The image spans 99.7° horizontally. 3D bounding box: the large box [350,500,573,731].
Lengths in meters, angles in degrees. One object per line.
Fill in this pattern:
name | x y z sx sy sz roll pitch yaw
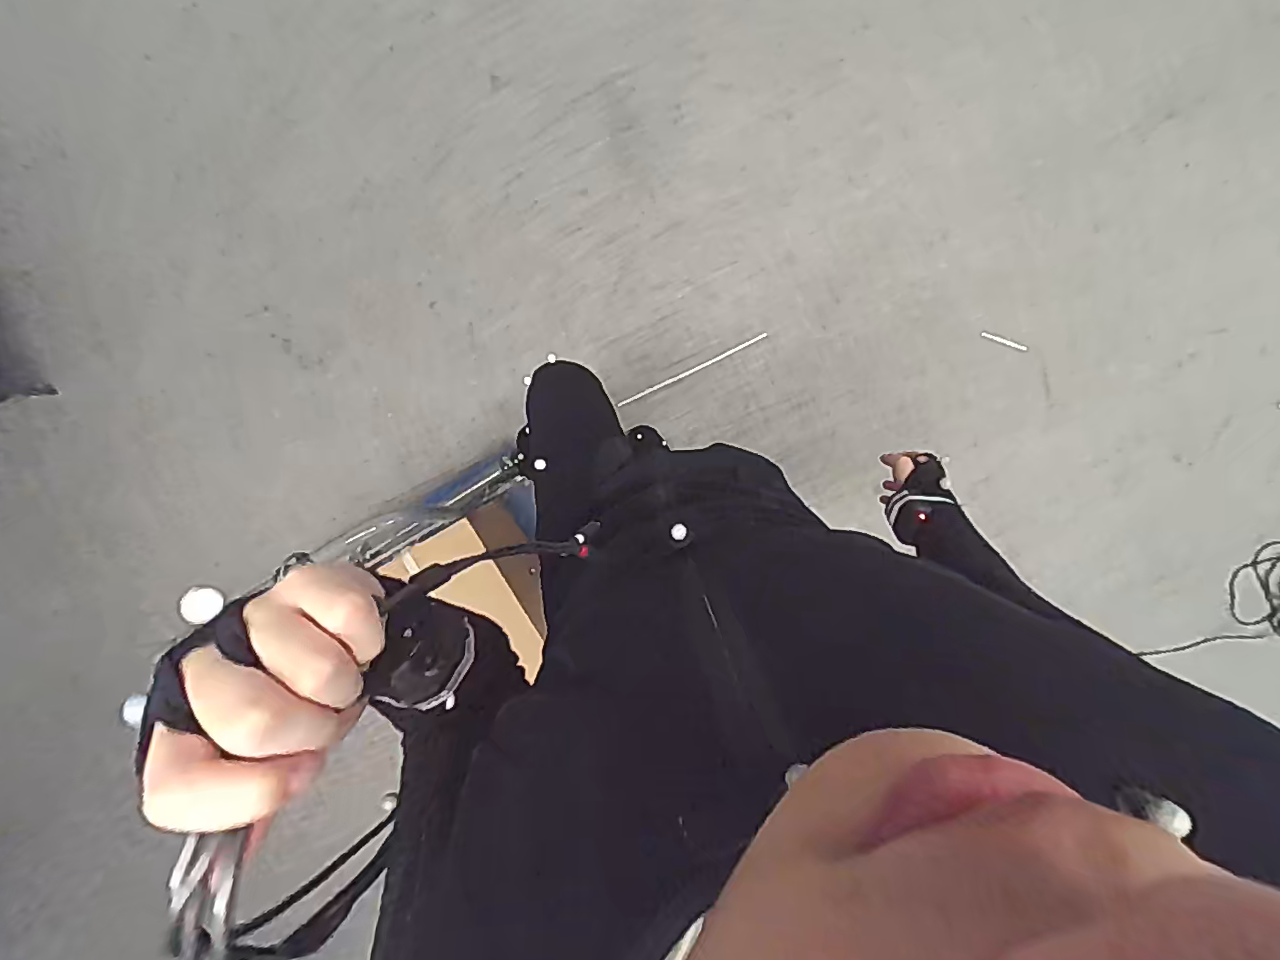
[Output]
large box | -0.410 0.309 1.343 0.320 0.320 0.408 -30 95 3
